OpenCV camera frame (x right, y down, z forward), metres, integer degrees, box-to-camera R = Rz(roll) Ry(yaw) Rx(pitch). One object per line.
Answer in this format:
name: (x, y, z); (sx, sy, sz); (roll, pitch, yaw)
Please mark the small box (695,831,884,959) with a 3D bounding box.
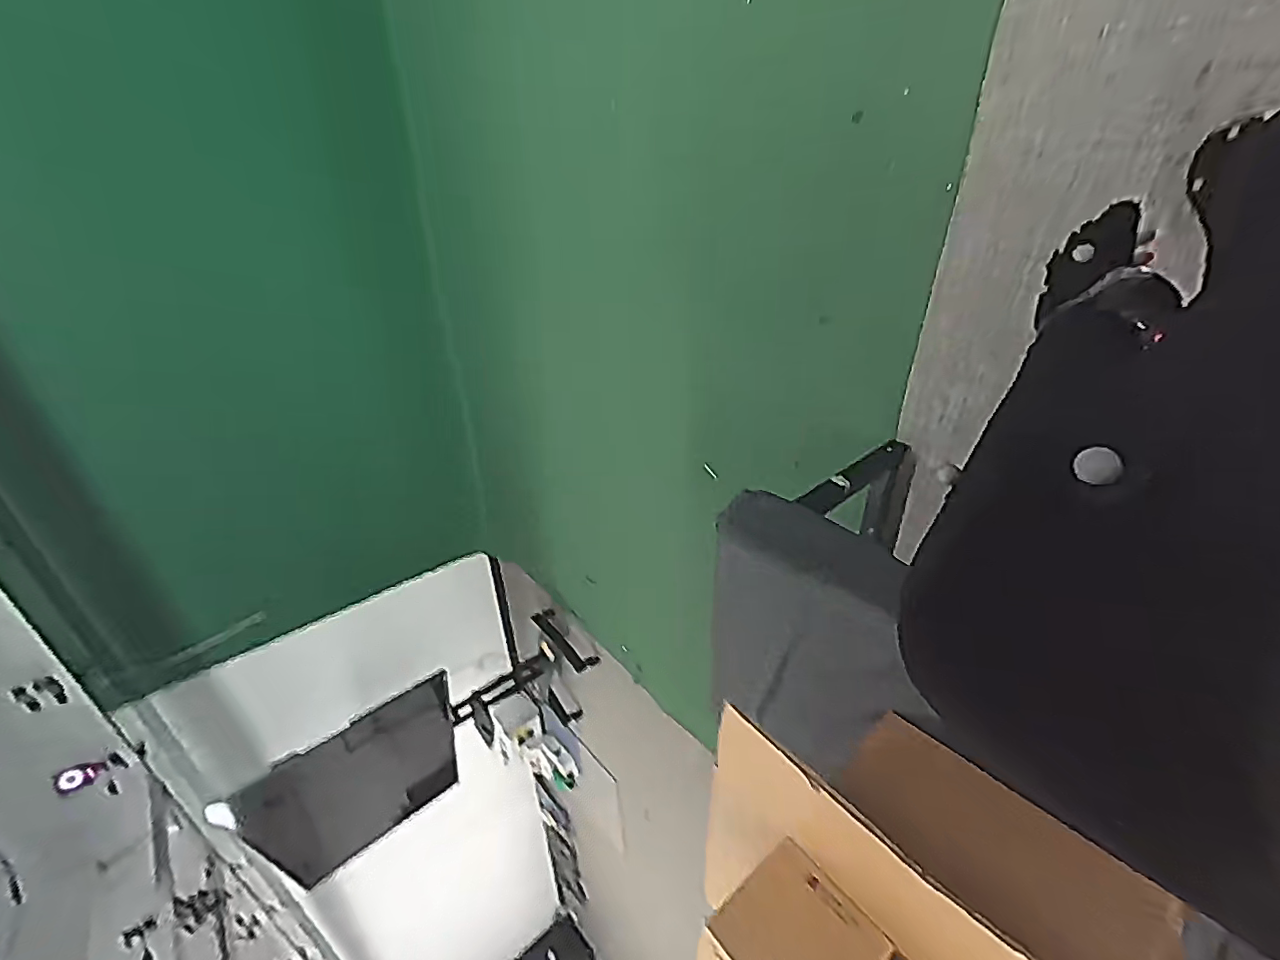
small box: (0.191, 0.619, 0.710); (0.168, 0.176, 0.179); (32, 134, 42)
